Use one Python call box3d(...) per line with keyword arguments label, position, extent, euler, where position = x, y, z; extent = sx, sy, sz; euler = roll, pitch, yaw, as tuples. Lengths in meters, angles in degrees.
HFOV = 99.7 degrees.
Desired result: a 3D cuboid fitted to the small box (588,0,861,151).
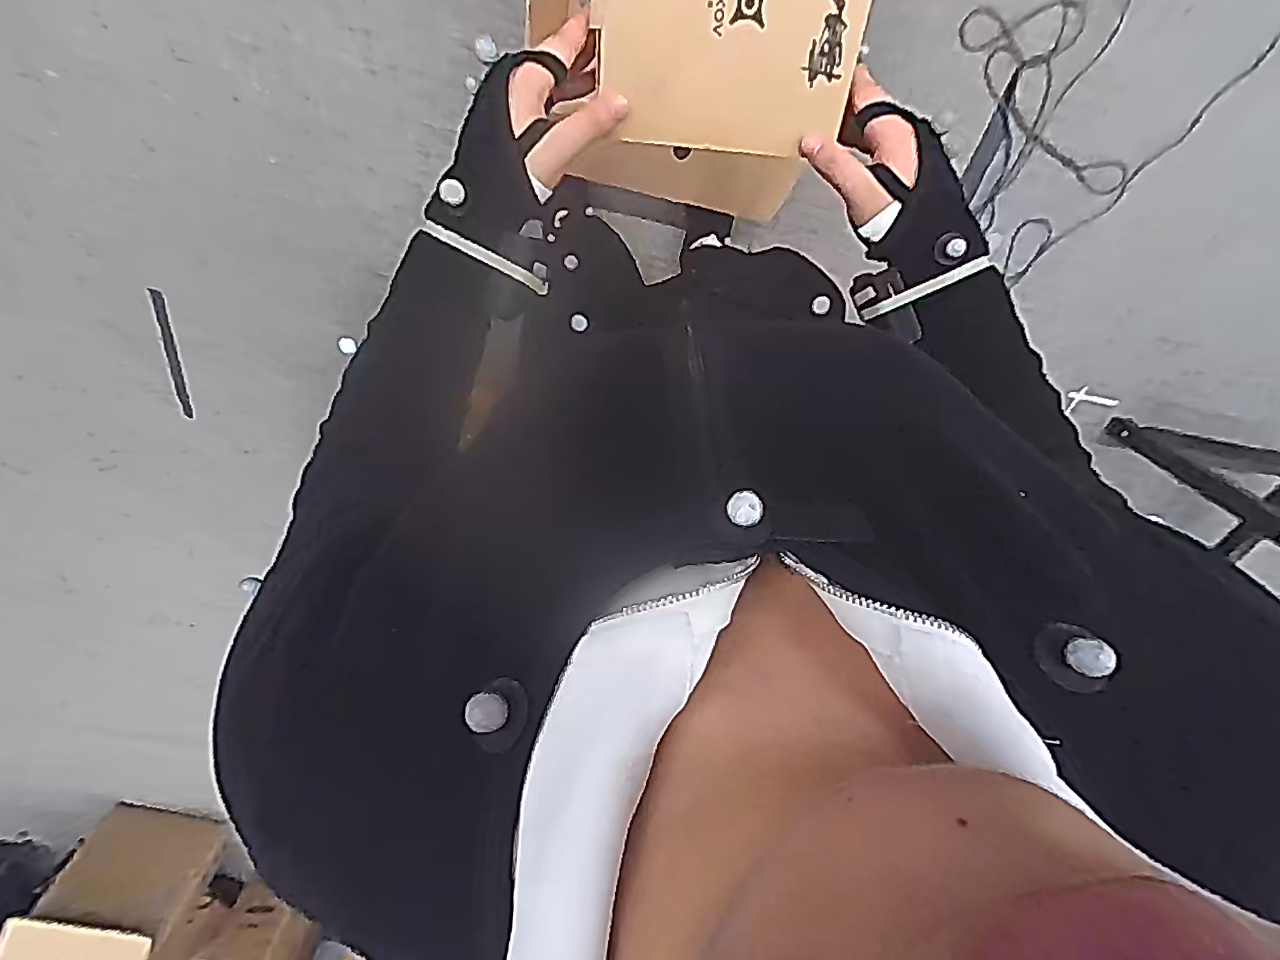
box3d(label="small box", position=(0.055, -0.360, 0.412), extent=(0.179, 0.176, 0.168), euler=(3, 125, -5))
